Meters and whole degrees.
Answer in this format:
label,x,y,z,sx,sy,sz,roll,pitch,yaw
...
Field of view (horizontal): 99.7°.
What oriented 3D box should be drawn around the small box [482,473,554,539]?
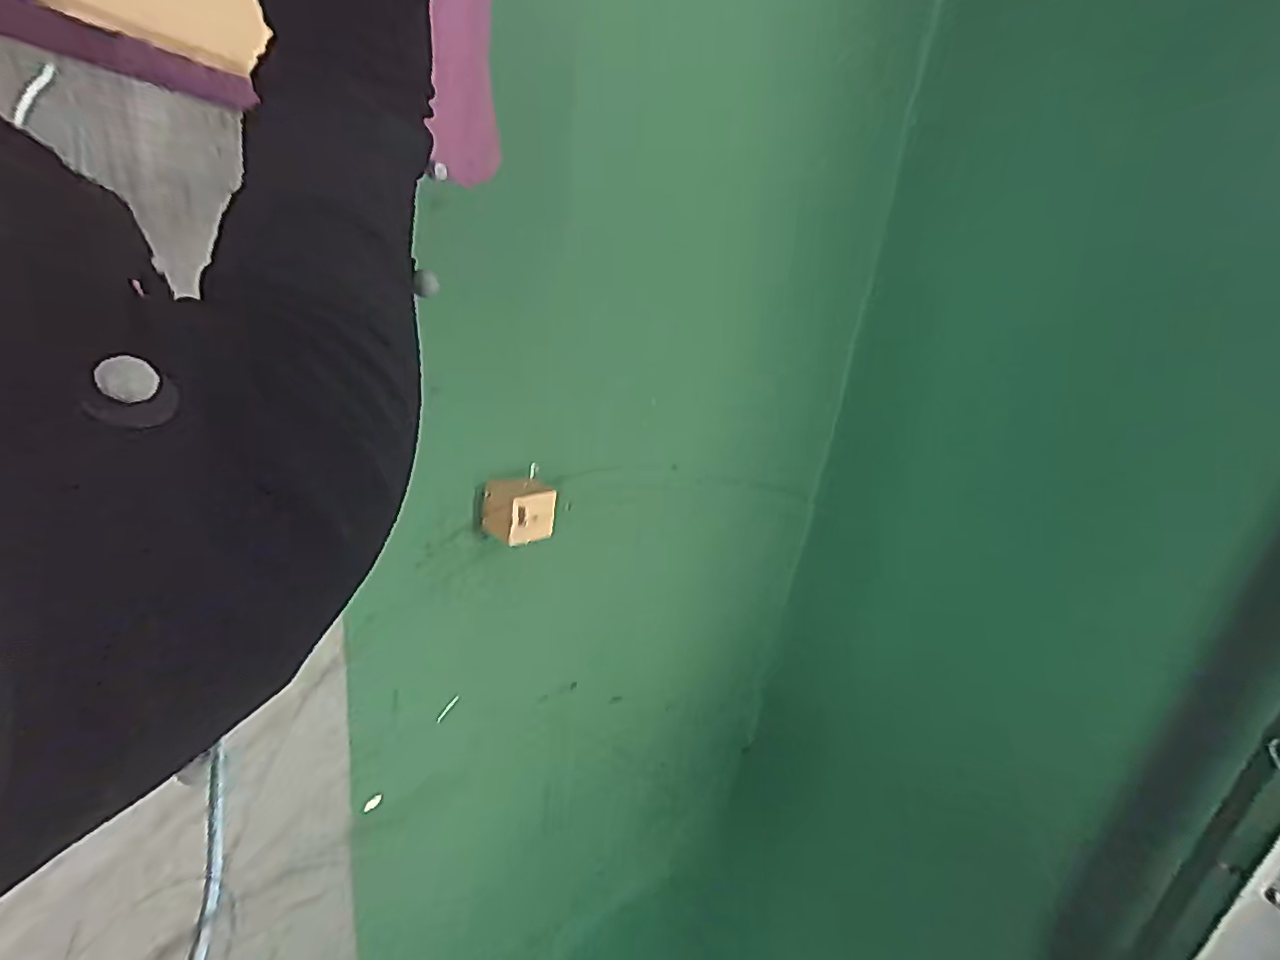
label,x,y,z,sx,sy,sz,roll,pitch,yaw
small box,-0.419,0.082,1.840,0.179,0.176,0.168,-10,116,-47
